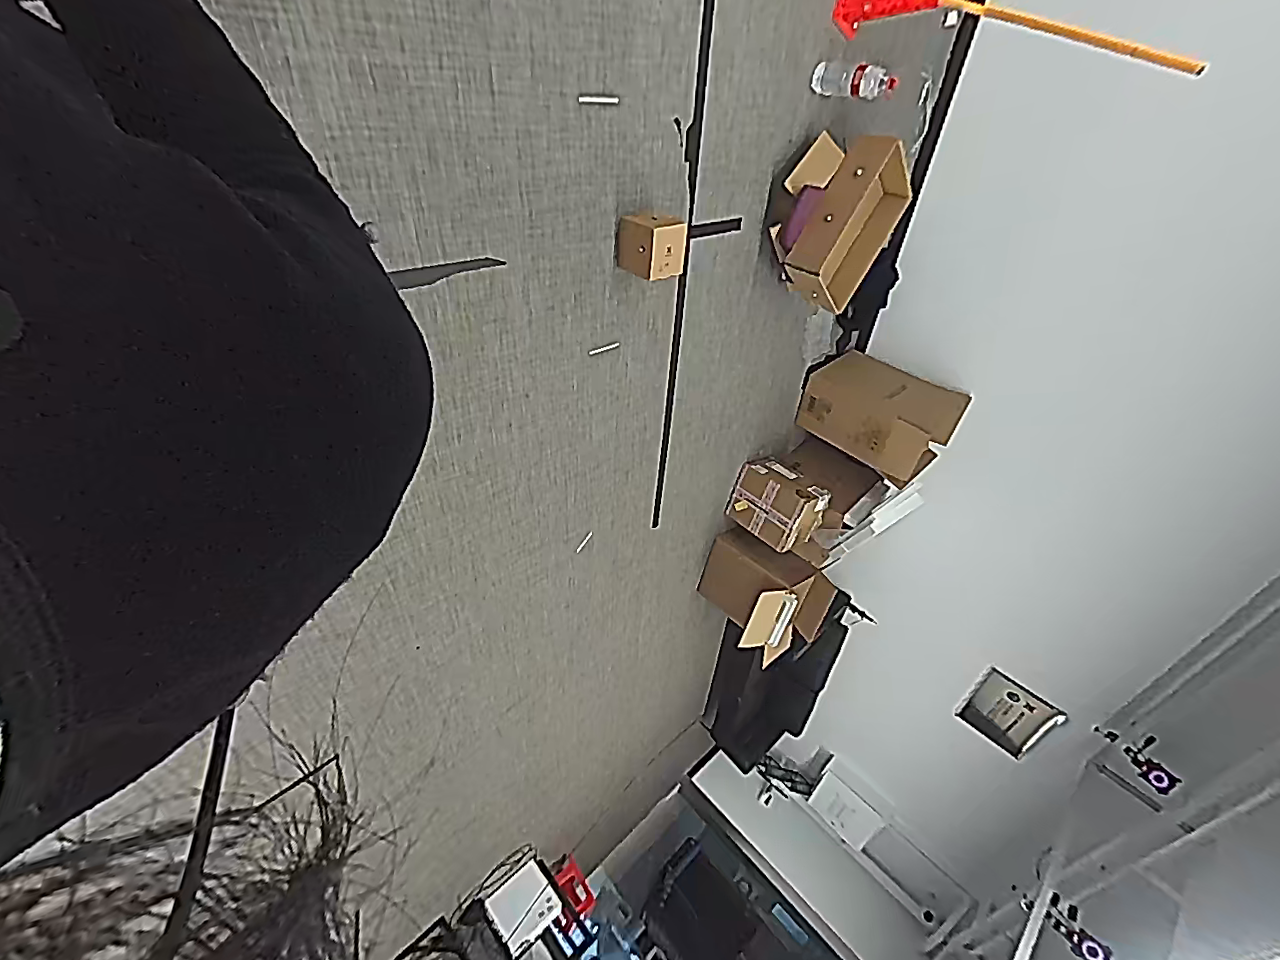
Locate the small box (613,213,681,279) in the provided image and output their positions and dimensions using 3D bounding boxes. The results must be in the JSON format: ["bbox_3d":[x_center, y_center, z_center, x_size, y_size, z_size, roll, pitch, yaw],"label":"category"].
[{"bbox_3d":[0.021,-0.831,1.907,0.168,0.176,0.179,-27,139,-35],"label":"small box"}]
